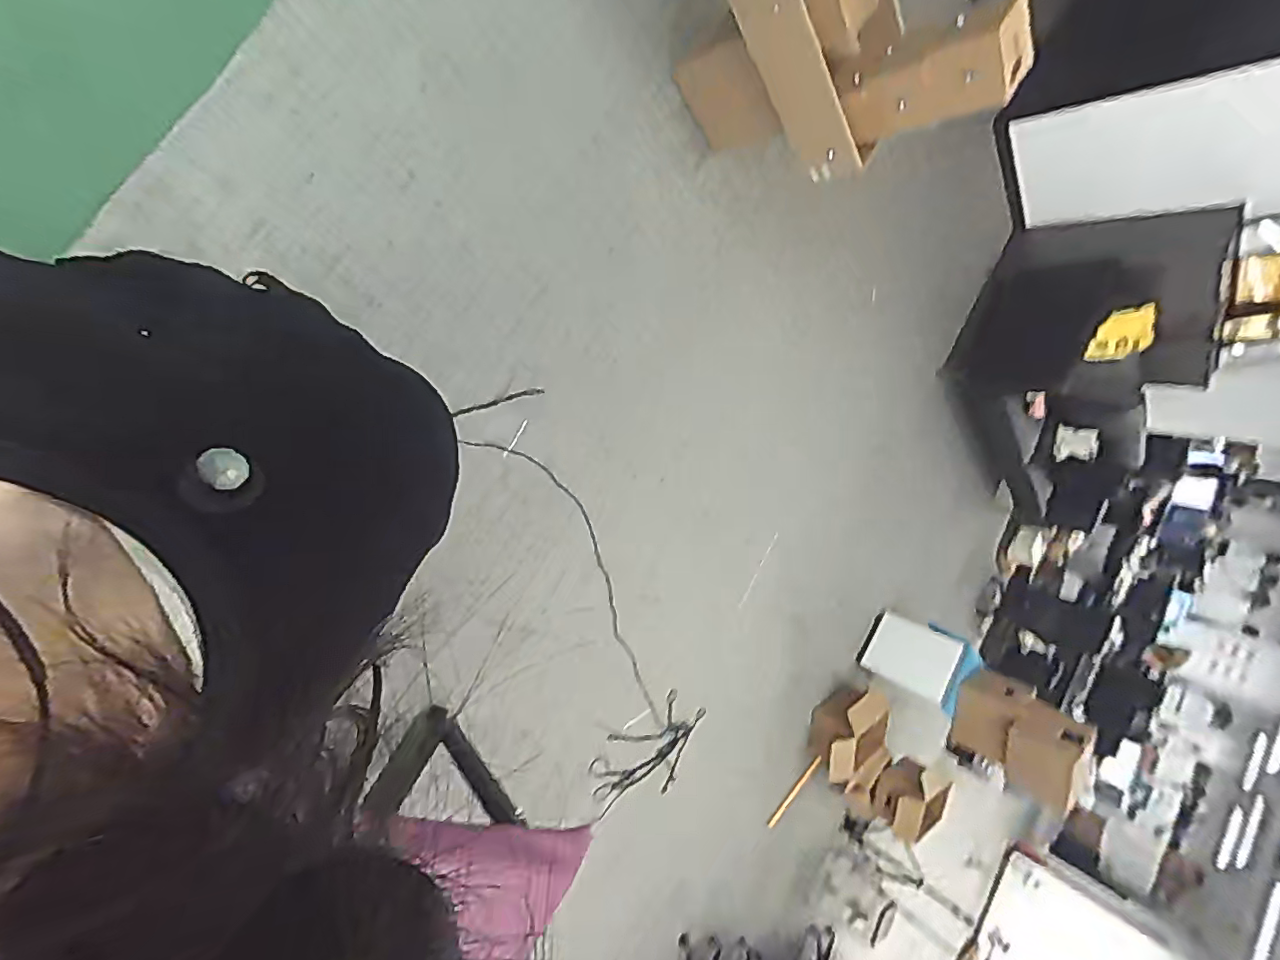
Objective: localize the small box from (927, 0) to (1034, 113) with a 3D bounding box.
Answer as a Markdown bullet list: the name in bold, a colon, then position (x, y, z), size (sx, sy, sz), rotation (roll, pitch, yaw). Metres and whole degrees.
- **small box**: position (0.854, -1.063, 1.358), size (0.179, 0.176, 0.168), rotation (44, 74, -39)
